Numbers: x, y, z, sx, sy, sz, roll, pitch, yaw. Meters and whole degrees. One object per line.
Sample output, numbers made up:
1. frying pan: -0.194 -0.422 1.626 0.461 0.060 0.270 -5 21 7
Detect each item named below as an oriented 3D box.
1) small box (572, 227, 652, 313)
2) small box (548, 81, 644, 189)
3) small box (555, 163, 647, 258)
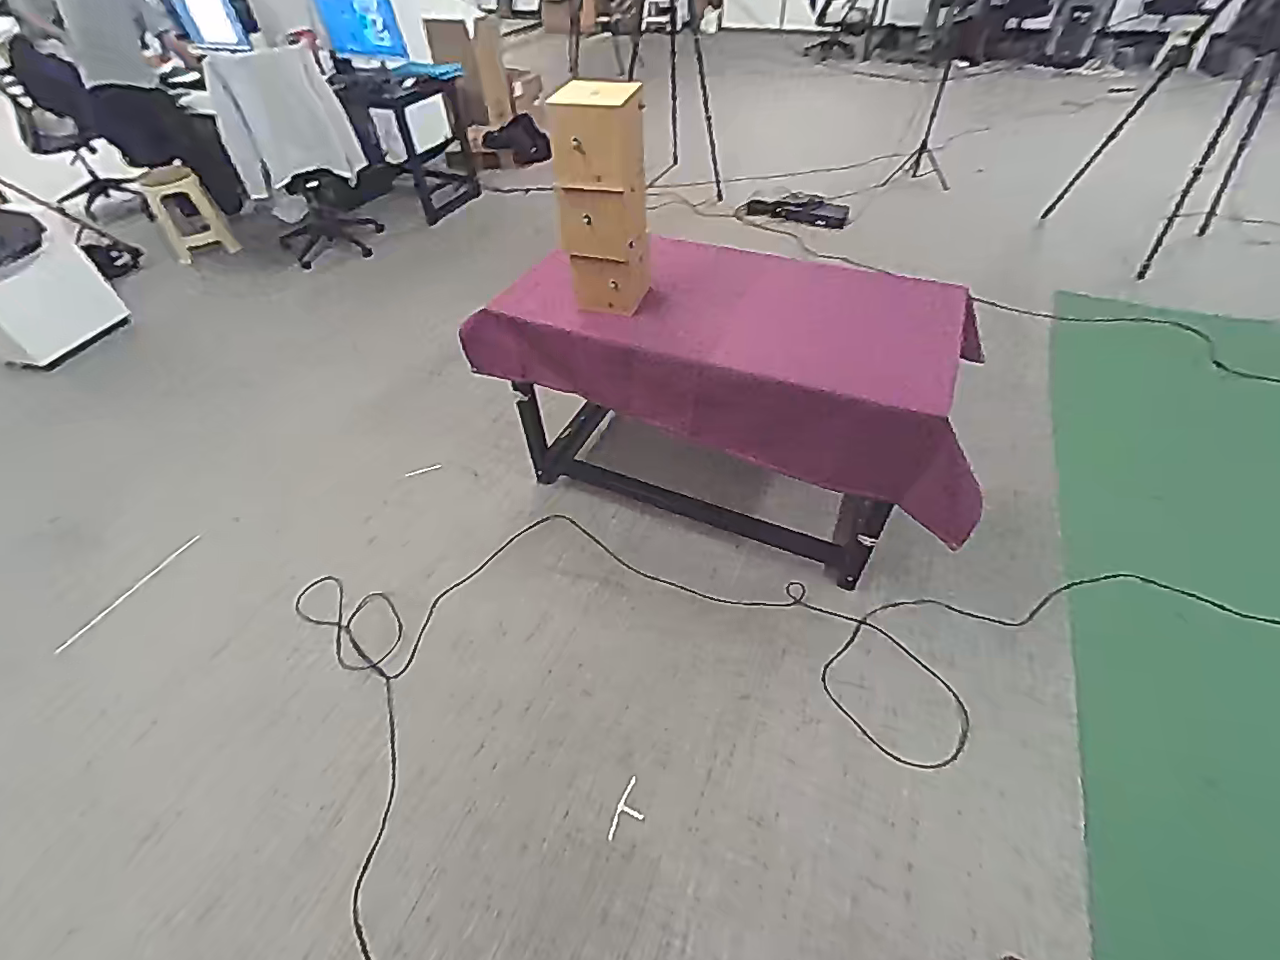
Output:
1. small box: -0.068 -0.574 1.468 0.168 0.176 0.179 13 49 13
2. small box: -0.088 -0.766 1.202 0.168 0.176 0.179 10 49 11
3. small box: -0.086 -0.667 1.332 0.179 0.176 0.168 13 50 14
